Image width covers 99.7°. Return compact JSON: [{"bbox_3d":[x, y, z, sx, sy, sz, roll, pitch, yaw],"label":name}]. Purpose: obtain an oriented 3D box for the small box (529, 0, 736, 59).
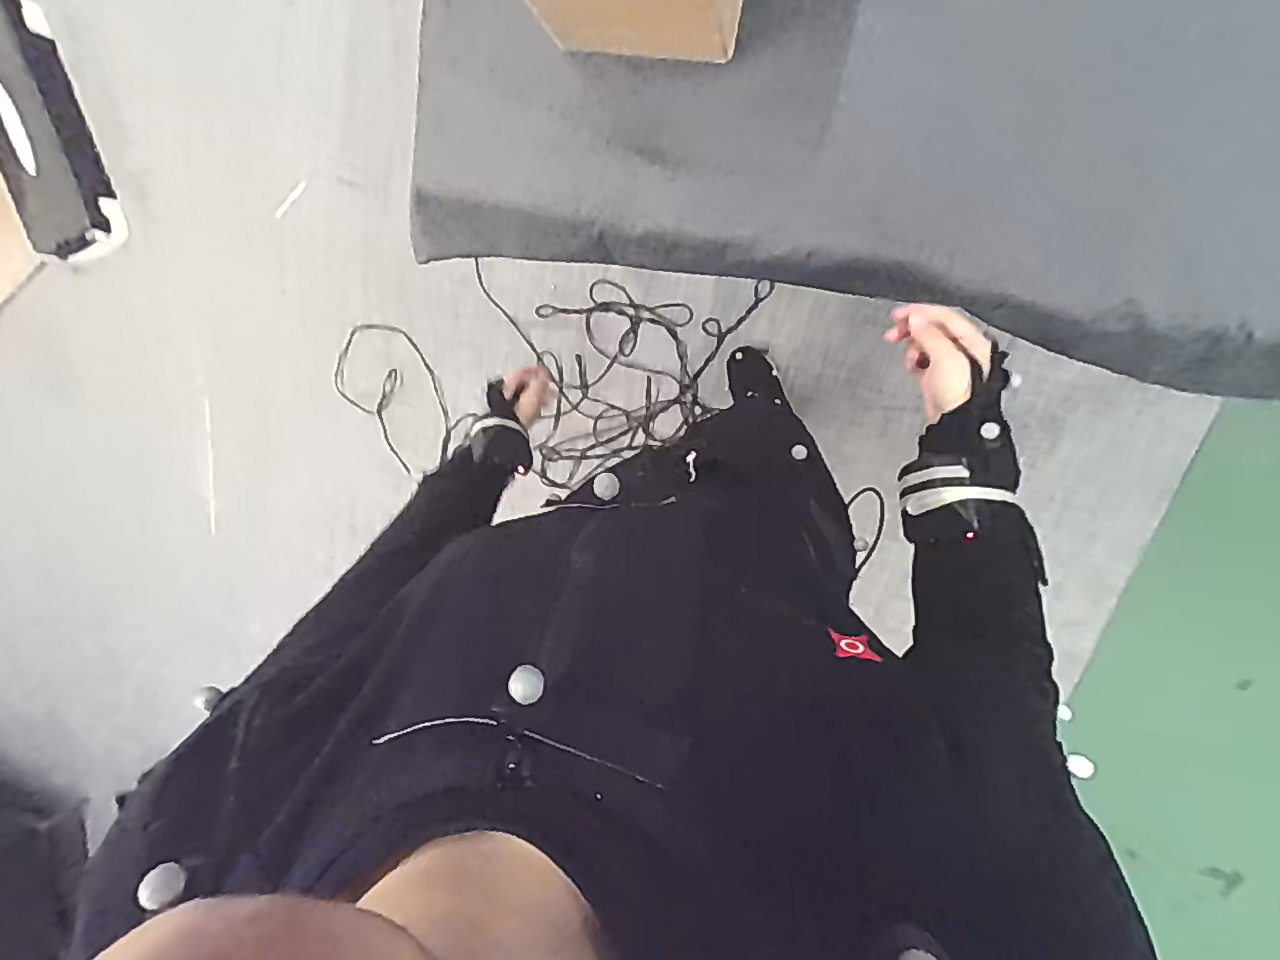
[{"bbox_3d":[-0.010,-0.467,0.423,0.179,0.176,0.168,13,106,11],"label":"small box"}]
